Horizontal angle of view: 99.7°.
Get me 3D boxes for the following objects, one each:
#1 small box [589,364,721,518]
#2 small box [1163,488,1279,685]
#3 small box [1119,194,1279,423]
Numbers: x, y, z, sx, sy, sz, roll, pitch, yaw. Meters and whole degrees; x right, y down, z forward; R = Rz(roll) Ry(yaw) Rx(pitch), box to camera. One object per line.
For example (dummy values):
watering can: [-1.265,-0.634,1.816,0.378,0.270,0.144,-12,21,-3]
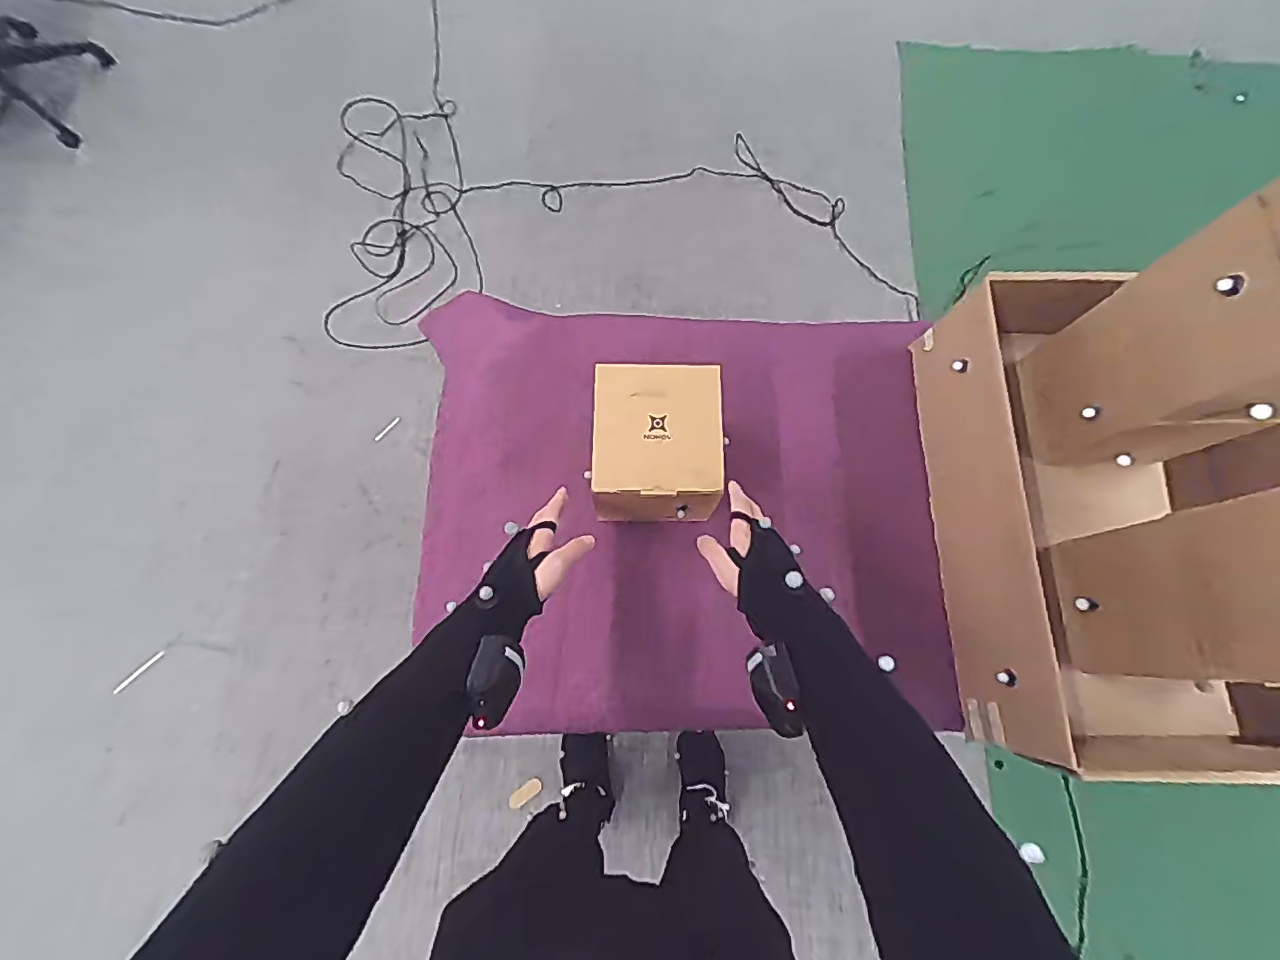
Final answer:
small box: [0.020,-0.045,0.760,0.168,0.176,0.179,1,74,-1]
small box: [0.659,0.102,0.503,0.168,0.176,0.179,0,72,1]
small box: [0.670,-0.173,0.578,0.168,0.176,0.179,-1,76,0]
